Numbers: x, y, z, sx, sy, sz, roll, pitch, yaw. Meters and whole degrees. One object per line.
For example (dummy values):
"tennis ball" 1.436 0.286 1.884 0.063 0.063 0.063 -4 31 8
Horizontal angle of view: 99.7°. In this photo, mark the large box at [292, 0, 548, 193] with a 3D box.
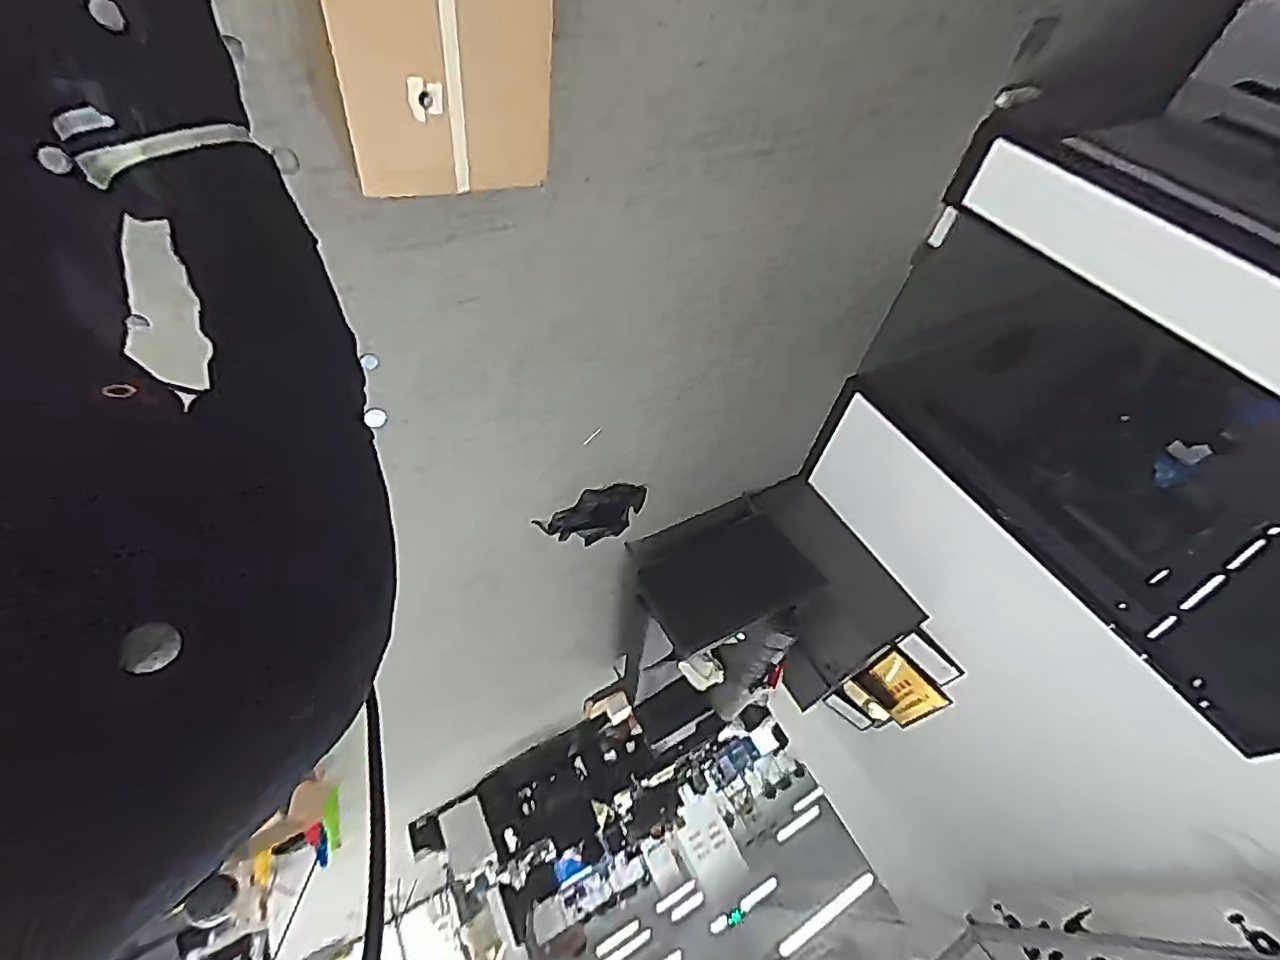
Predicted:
"large box" -0.346 -0.727 0.827 0.320 0.320 0.408 -18 149 -25
